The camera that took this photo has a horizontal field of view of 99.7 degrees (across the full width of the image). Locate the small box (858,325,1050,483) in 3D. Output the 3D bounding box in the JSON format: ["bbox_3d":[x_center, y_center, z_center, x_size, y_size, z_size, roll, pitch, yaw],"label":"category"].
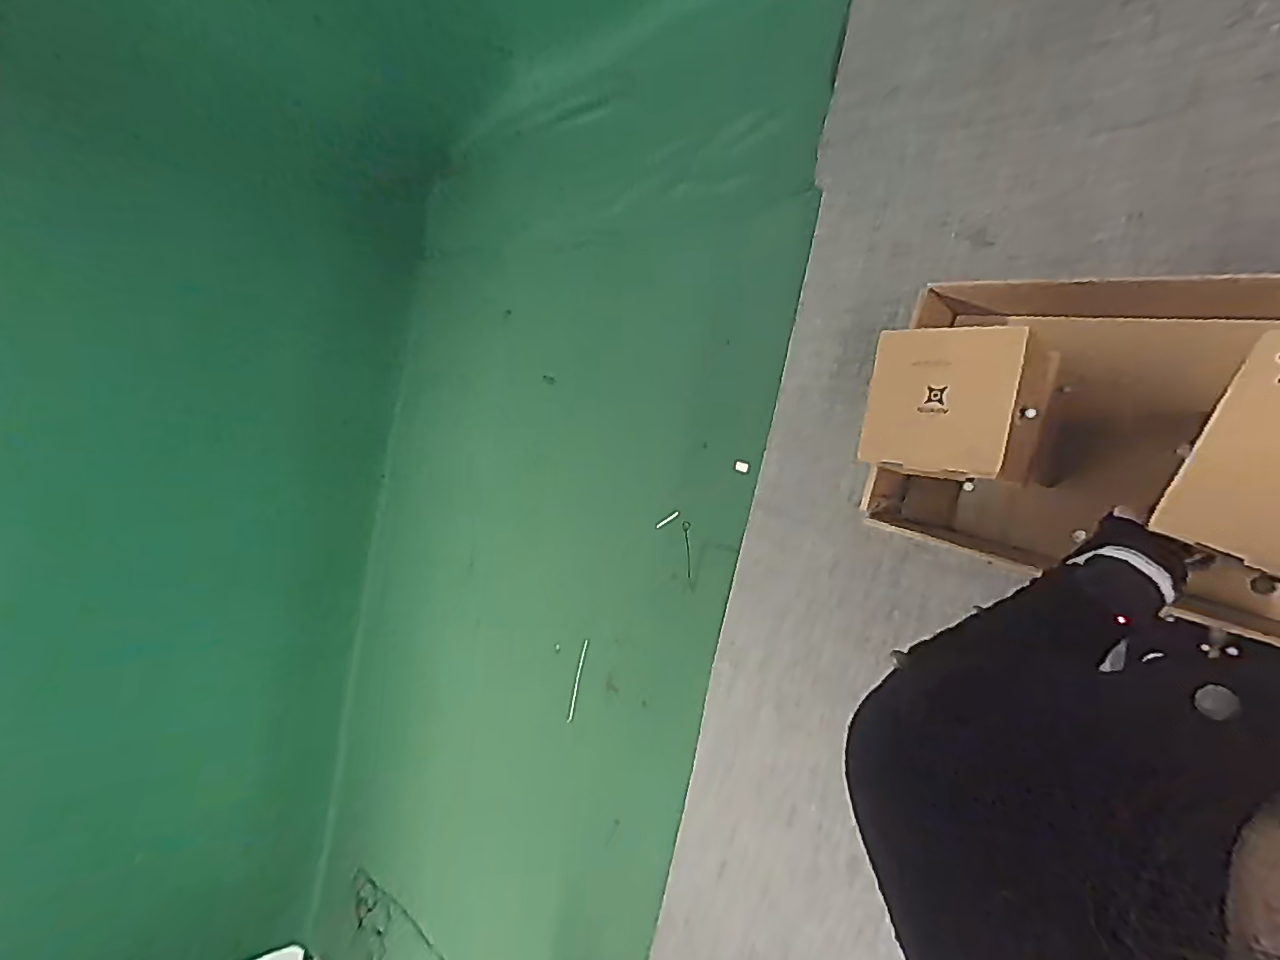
[{"bbox_3d":[0.418,-0.095,0.716,0.168,0.176,0.179,13,95,45],"label":"small box"}]
